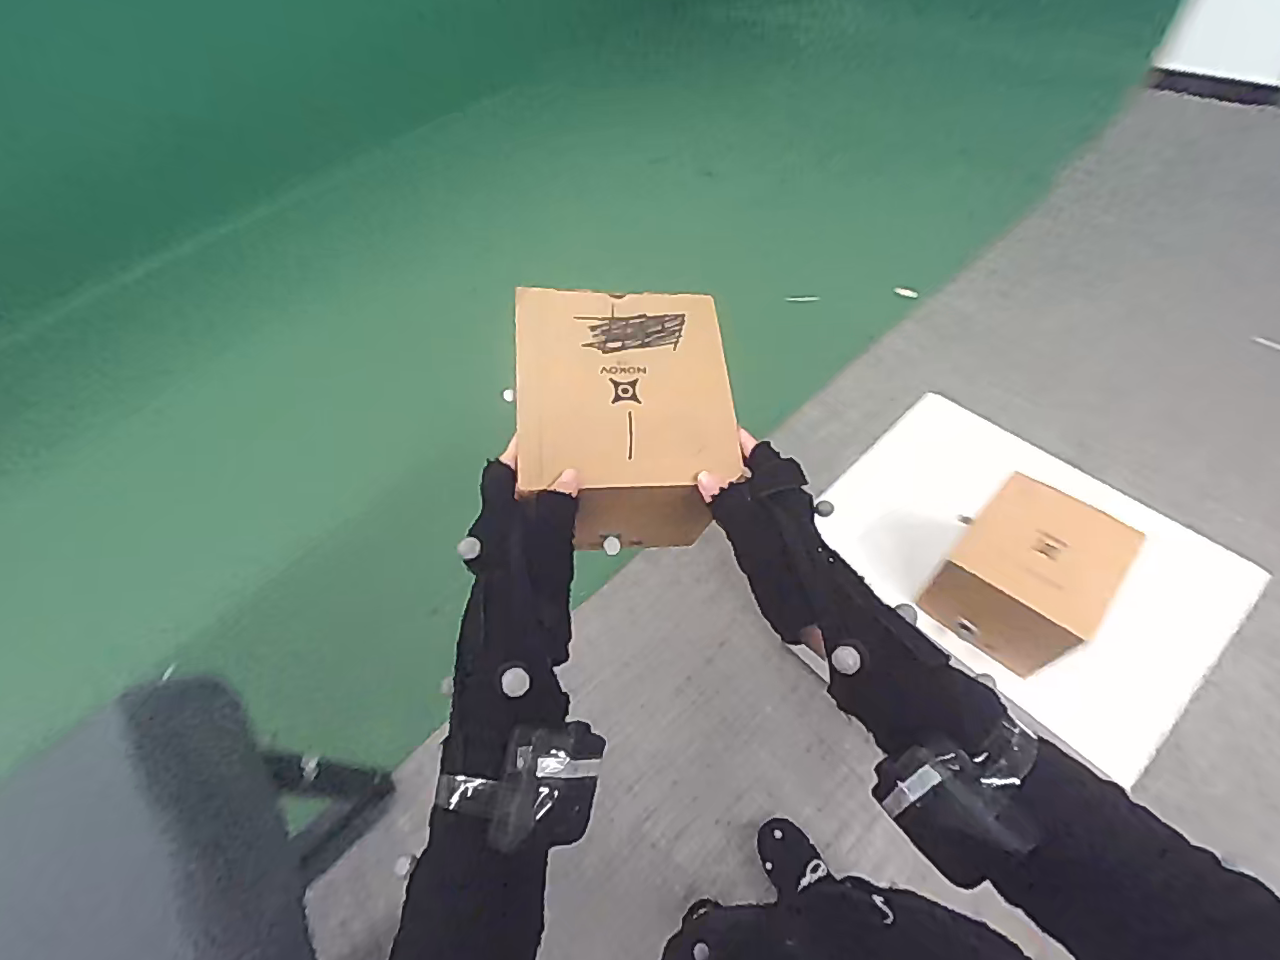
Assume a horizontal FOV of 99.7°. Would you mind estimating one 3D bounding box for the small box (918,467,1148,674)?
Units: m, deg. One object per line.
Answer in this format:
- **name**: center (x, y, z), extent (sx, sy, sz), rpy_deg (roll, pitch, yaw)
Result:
- **small box**: center (0.498, 0.122, 0.714), extent (0.168, 0.176, 0.179), rpy_deg (35, 70, 29)
